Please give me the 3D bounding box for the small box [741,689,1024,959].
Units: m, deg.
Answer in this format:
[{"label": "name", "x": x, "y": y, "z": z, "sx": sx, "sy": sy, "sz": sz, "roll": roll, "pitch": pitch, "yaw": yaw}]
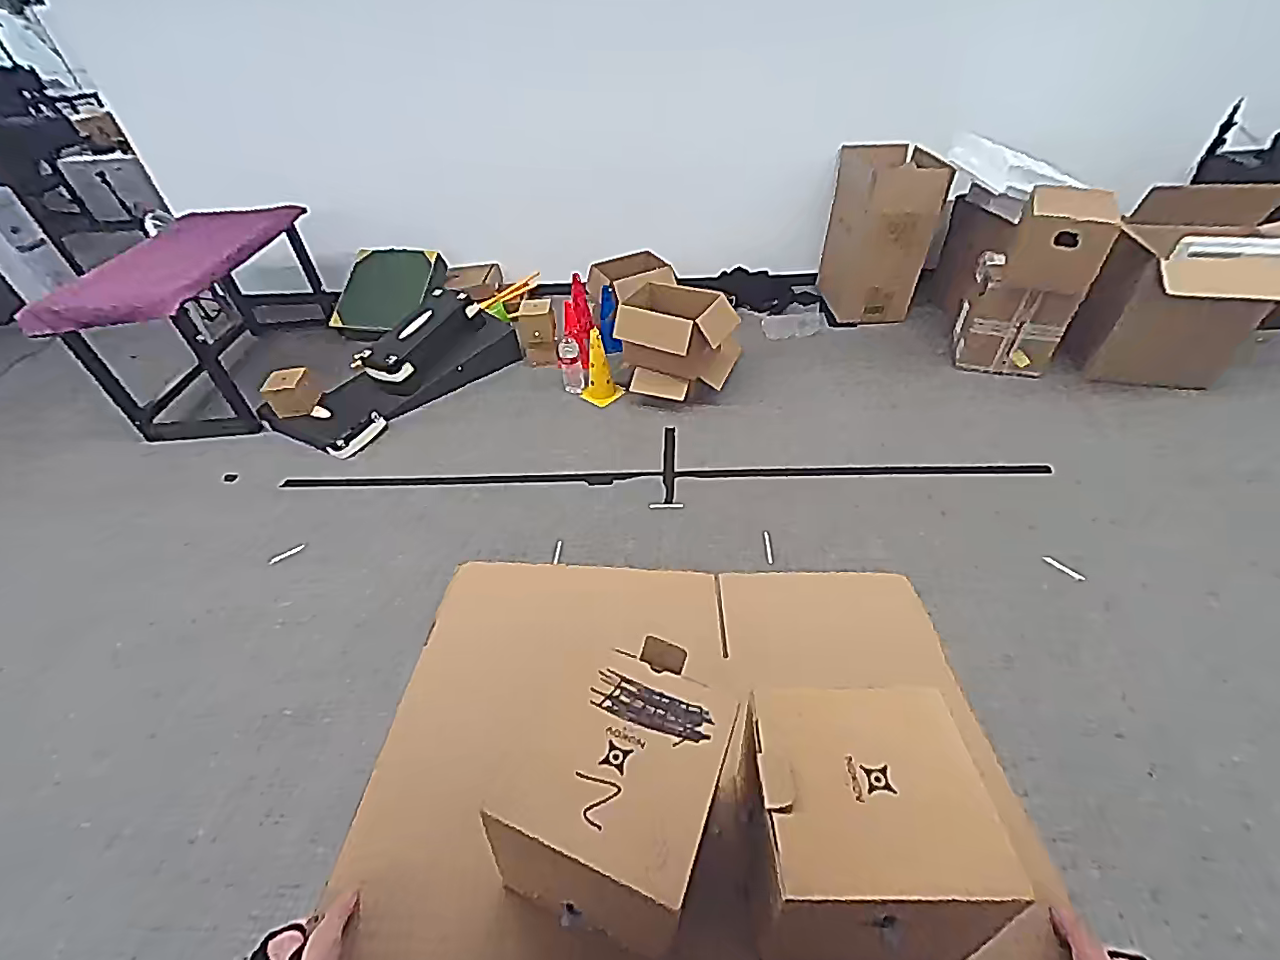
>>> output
[{"label": "small box", "x": 0.195, "y": 0.315, "z": 0.501, "sx": 0.179, "sy": 0.176, "sz": 0.168, "roll": -2, "pitch": 37, "yaw": 2}]
